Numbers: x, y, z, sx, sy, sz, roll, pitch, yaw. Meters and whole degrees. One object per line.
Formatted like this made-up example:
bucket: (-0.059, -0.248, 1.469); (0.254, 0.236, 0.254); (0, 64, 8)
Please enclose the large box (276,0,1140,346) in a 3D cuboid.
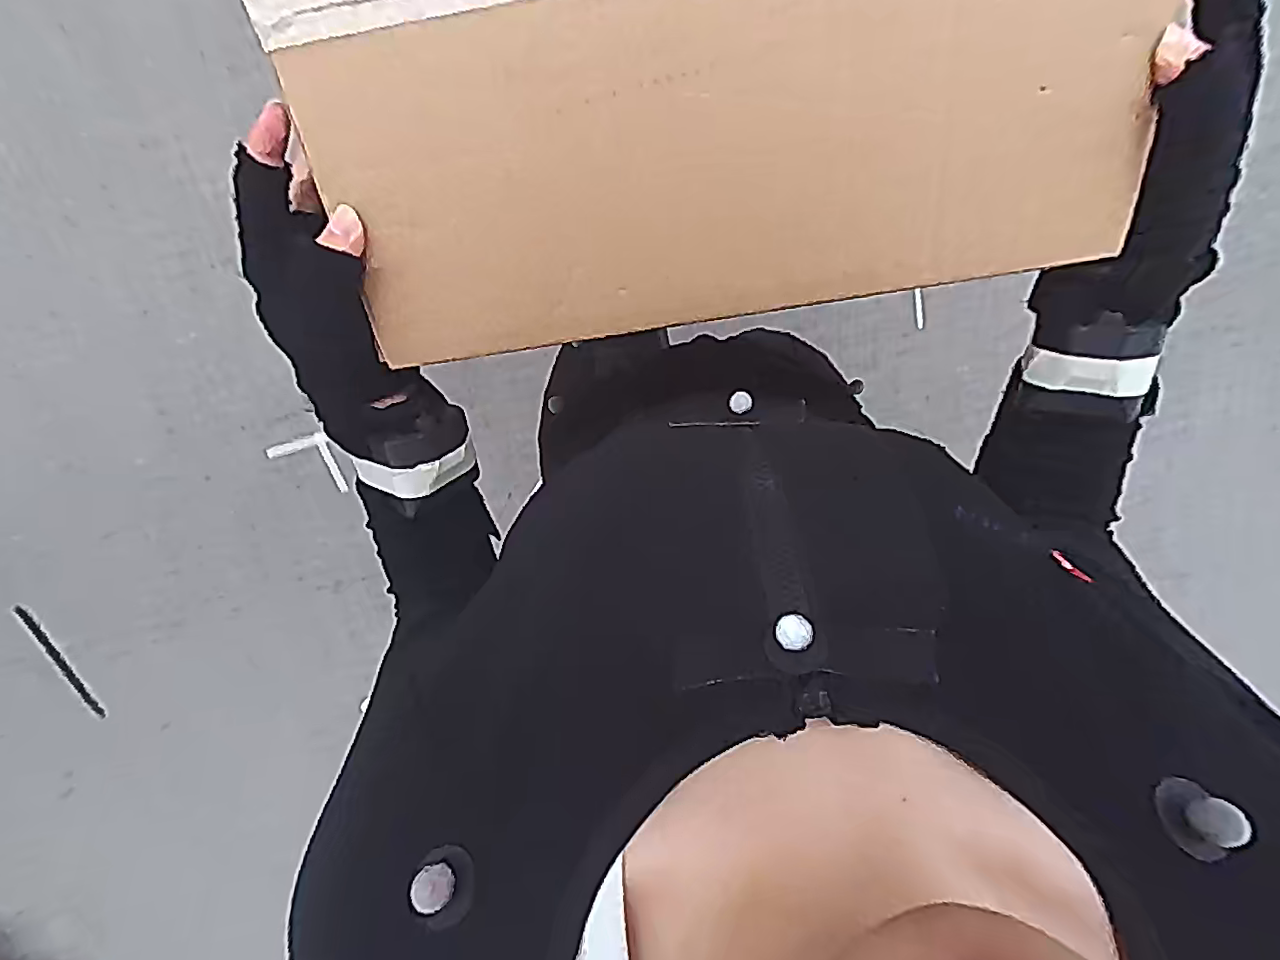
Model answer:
large box: (0.024, -0.308, 0.372); (0.408, 0.320, 0.320); (-8, 118, 3)
